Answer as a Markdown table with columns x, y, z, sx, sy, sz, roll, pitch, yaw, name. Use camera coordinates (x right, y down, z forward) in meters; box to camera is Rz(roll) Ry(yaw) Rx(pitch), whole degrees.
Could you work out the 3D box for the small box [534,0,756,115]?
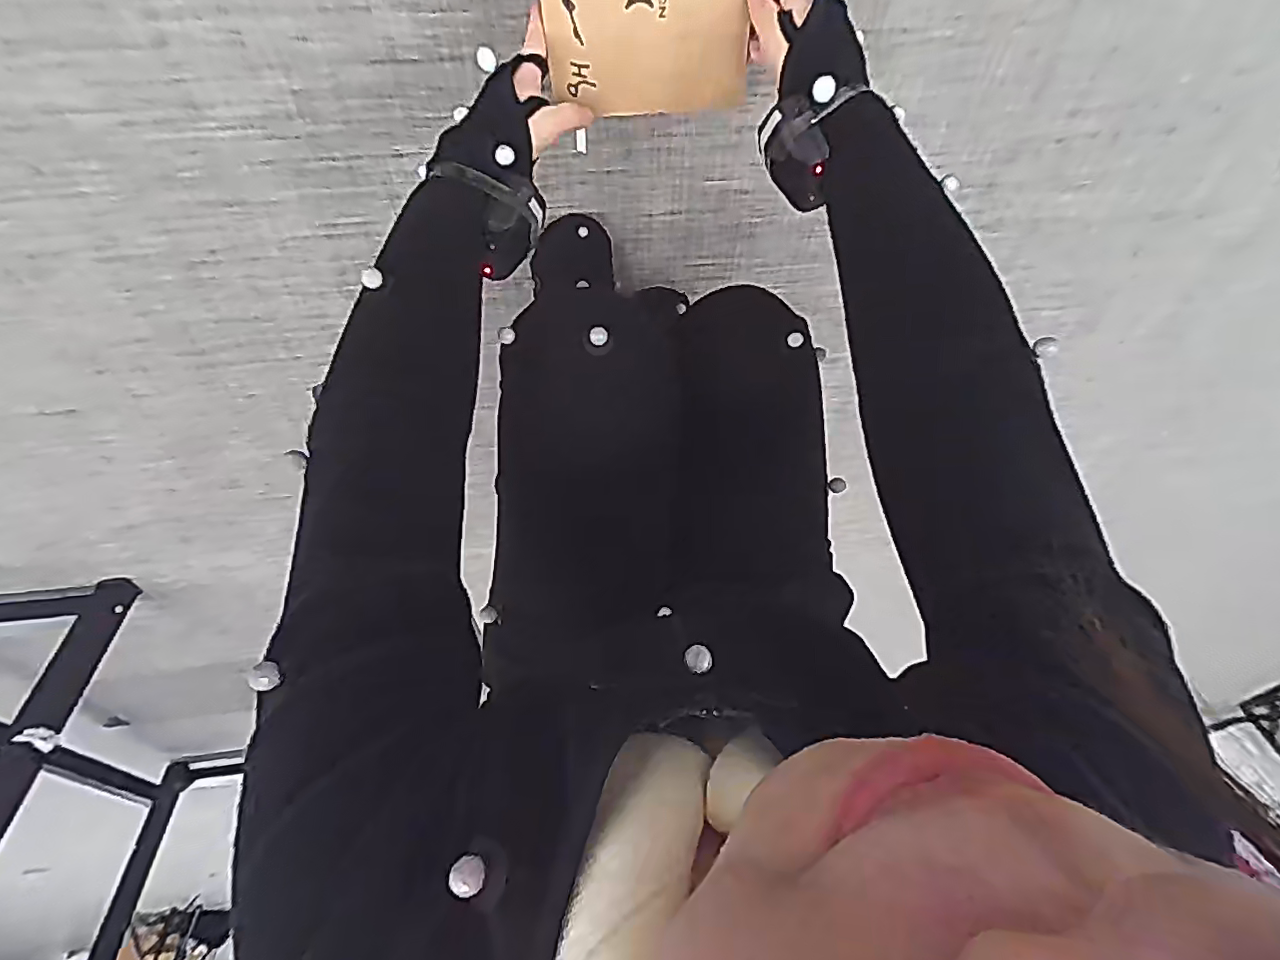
| x | y | z | sx | sy | sz | roll | pitch | yaw | name |
| --- | --- | --- | --- | --- | --- | --- | --- | --- | --- |
| -0.005 | -0.437 | 0.468 | 0.179 | 0.176 | 0.168 | -7 | 136 | -5 | small box |
